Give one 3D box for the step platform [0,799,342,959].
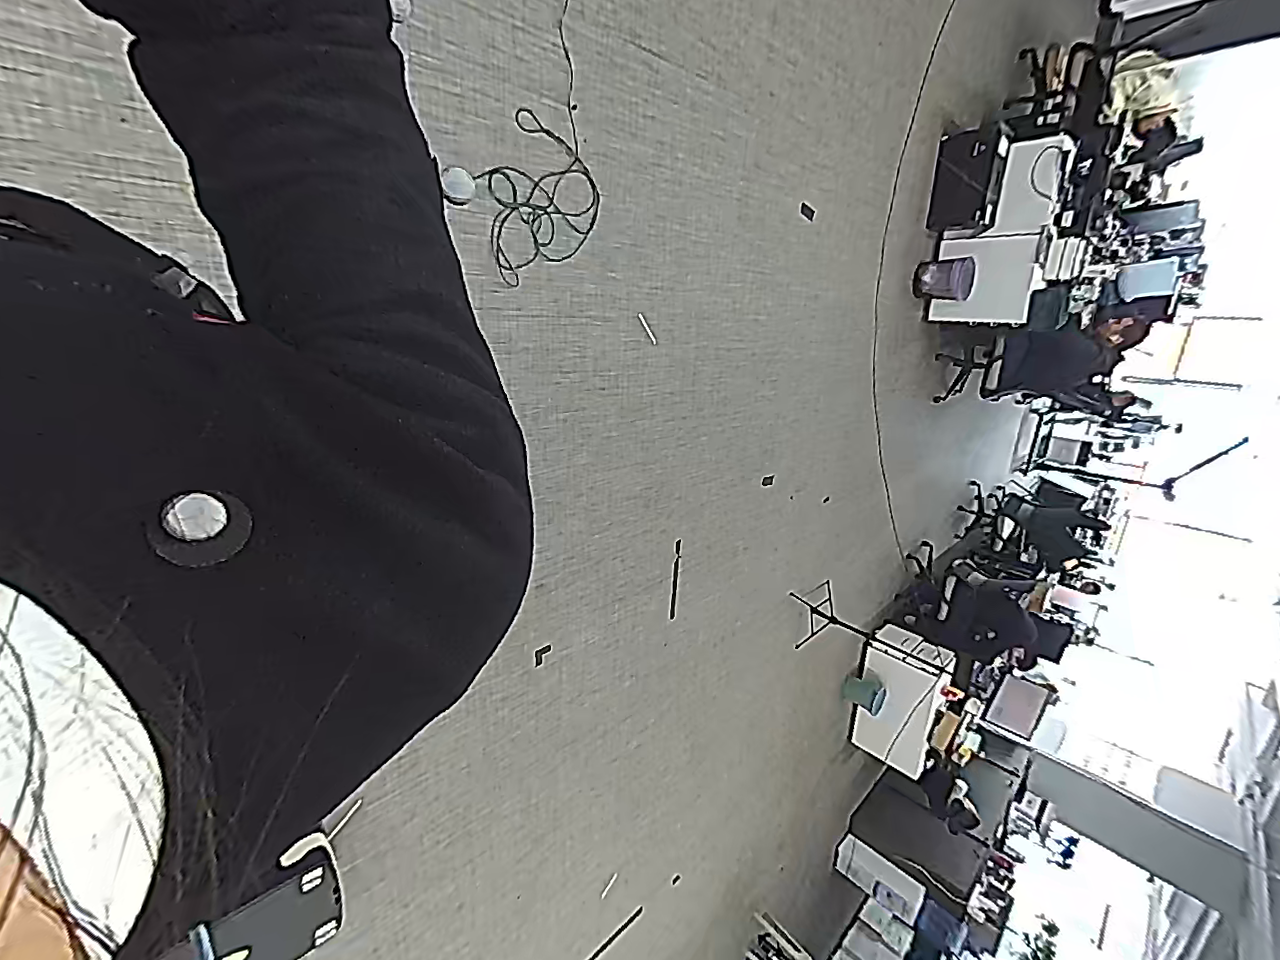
[{"bbox_3d":[-1.102,1.104,1.292,0.684,0.204,0.286,-15,114,-41],"label":"step platform"}]
